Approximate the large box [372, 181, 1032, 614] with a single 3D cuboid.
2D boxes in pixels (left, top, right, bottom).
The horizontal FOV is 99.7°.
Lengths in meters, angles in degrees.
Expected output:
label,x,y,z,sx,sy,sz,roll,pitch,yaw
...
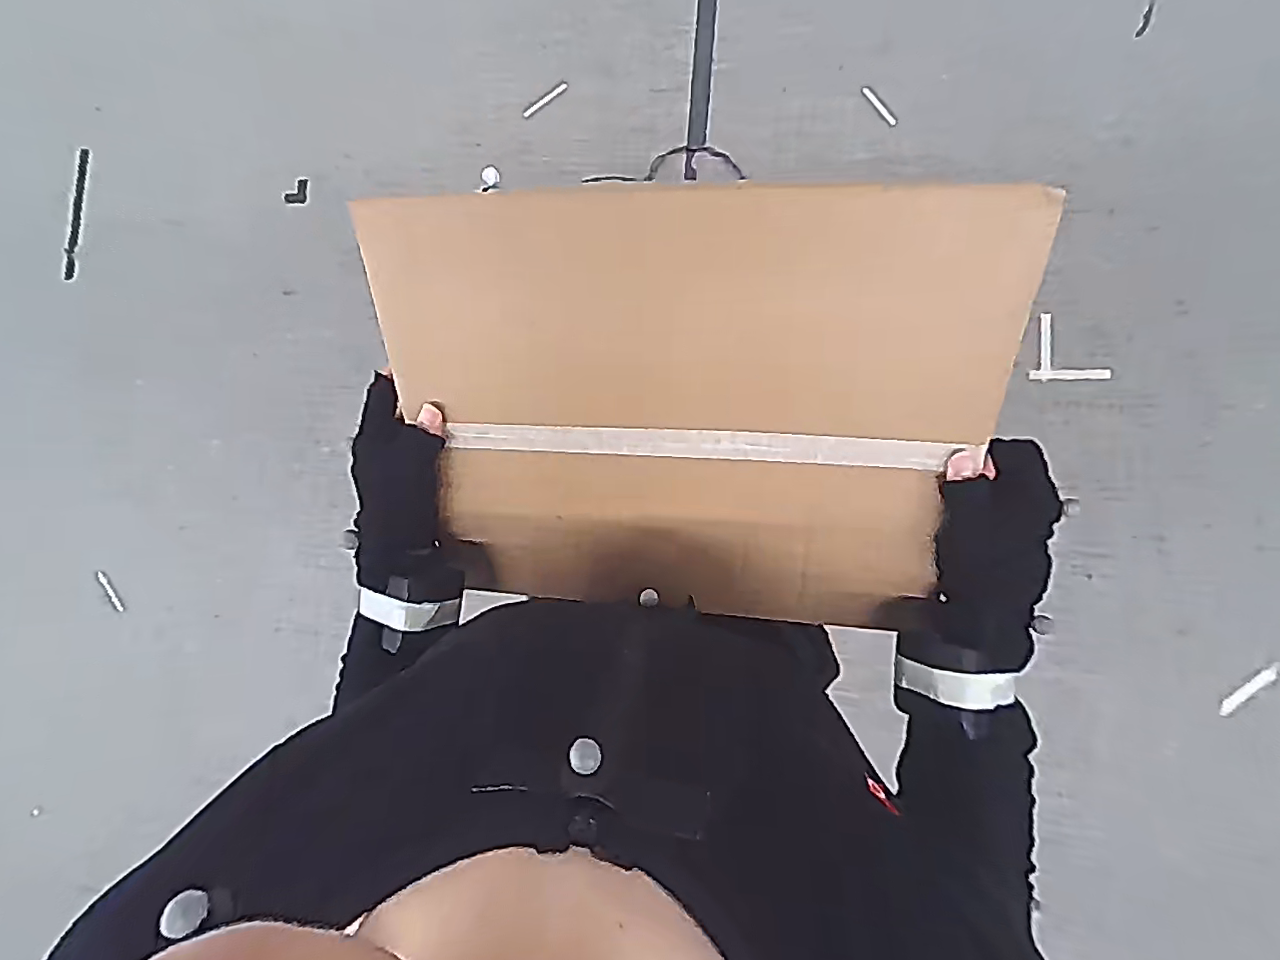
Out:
label,x,y,z,sx,sy,sz,roll,pitch,yaw
large box,0.045,-0.105,0.522,0.408,0.320,0.320,3,121,9
